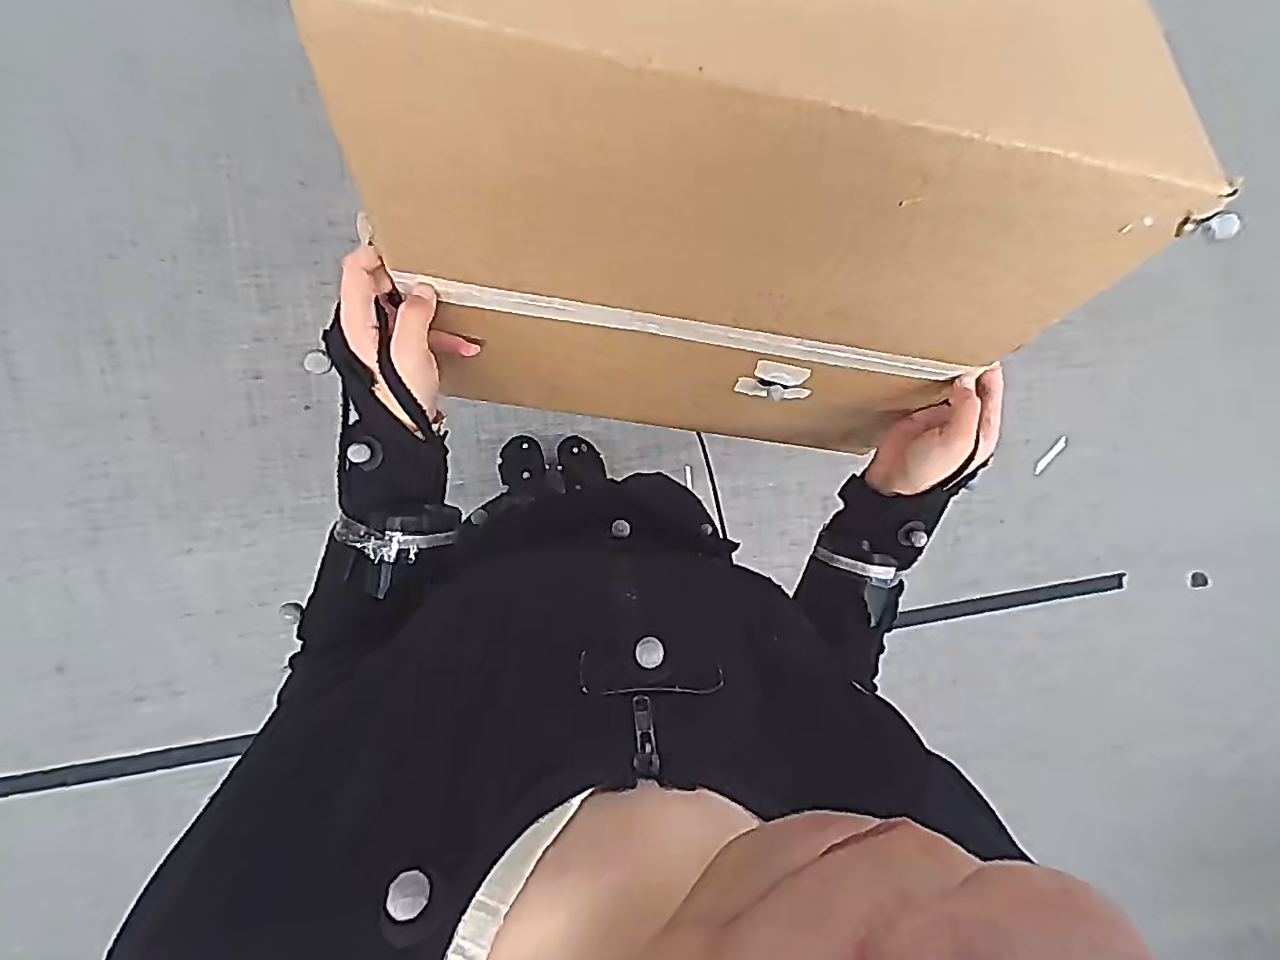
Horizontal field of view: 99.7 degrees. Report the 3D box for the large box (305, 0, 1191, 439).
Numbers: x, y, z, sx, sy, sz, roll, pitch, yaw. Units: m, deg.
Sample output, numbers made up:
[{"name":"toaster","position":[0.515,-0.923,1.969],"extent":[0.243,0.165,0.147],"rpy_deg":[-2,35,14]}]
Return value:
[{"name":"large box","position":[0.049,-0.251,0.420],"extent":[0.408,0.320,0.320],"rpy_deg":[6,71,-8]}]
